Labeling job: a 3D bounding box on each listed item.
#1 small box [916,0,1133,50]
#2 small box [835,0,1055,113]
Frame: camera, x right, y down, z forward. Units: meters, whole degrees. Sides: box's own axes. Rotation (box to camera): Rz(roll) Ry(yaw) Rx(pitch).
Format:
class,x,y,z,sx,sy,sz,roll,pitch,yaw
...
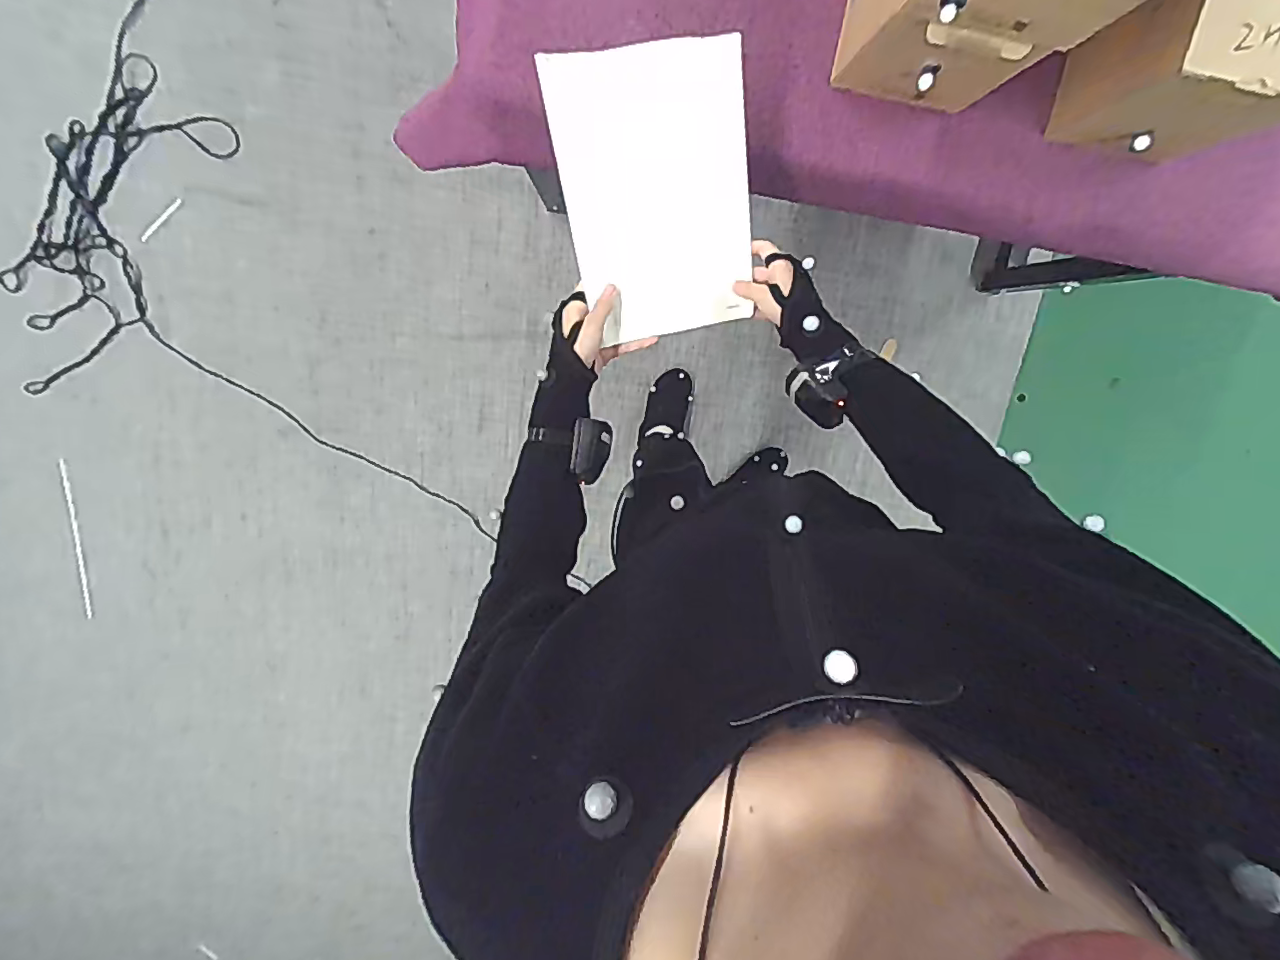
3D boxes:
class,x,y,z,sx,sy,sz,roll,pitch,yaw
small box,0.328,-0.466,0.397,0.168,0.176,0.179,8,103,-5
small box,0.321,-0.513,0.555,0.168,0.176,0.179,8,105,-5
